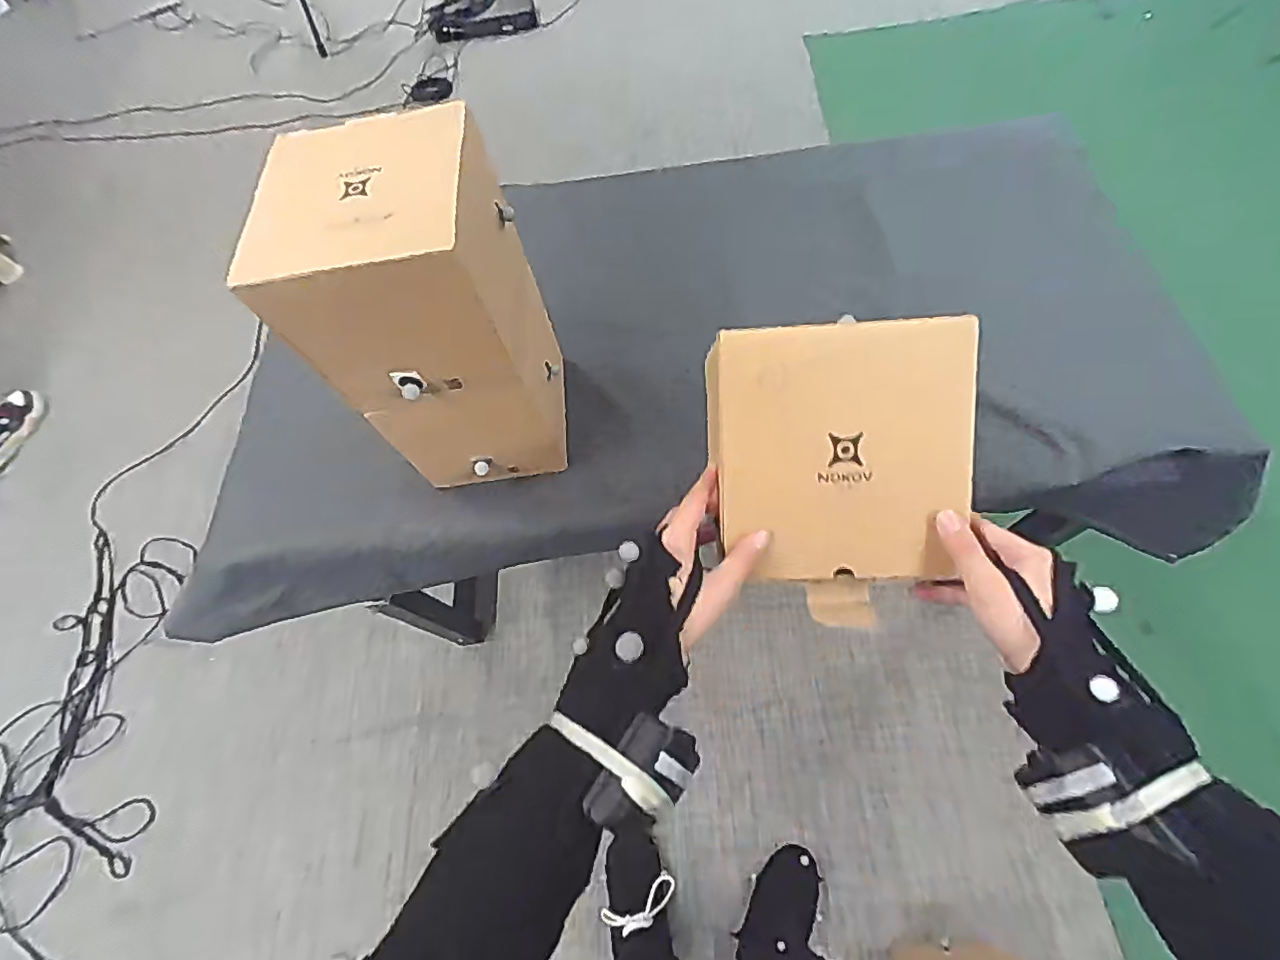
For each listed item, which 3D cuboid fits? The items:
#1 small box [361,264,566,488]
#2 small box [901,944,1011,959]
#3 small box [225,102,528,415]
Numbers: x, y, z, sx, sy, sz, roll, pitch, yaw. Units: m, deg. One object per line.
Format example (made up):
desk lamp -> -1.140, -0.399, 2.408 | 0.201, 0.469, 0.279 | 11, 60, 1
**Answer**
small box -> -0.184, -0.111, 0.617 | 0.168, 0.176, 0.179 | -8, 64, 3
small box -> 0.537, 0.874, 0.865 | 0.179, 0.176, 0.168 | -6, 63, 5
small box -> -0.202, -0.181, 0.472 | 0.168, 0.176, 0.179 | -9, 64, 3
